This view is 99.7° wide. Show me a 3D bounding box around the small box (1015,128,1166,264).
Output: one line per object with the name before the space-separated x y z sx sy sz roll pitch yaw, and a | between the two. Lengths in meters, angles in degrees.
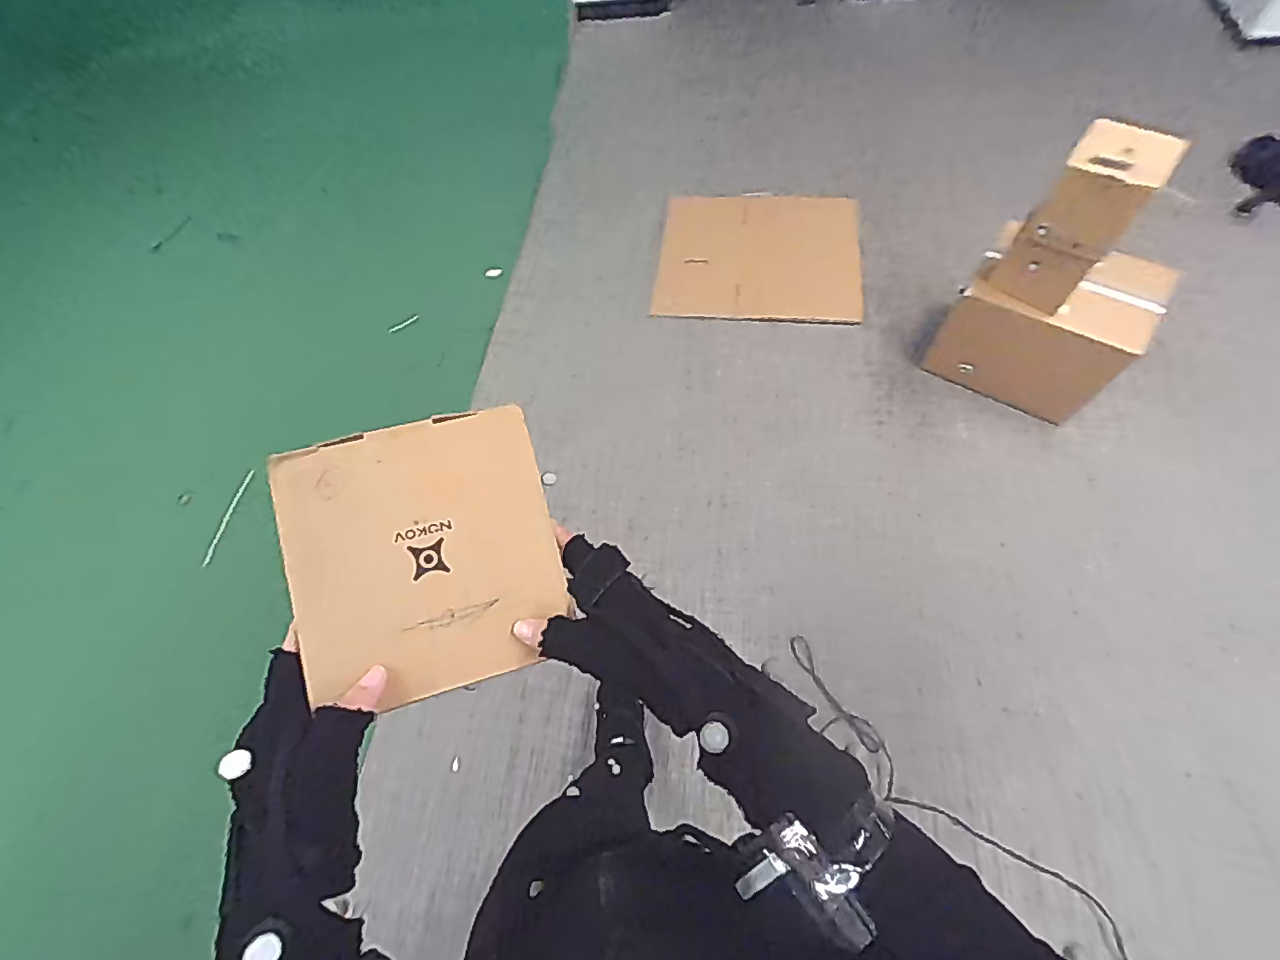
small box | 0.936 -0.593 1.142 0.168 0.176 0.179 30 71 20

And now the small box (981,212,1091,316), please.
small box | 0.964 -0.527 1.294 0.179 0.176 0.168 36 71 21

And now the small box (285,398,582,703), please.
small box | -0.151 0.056 0.441 0.168 0.176 0.179 -14 82 -11
